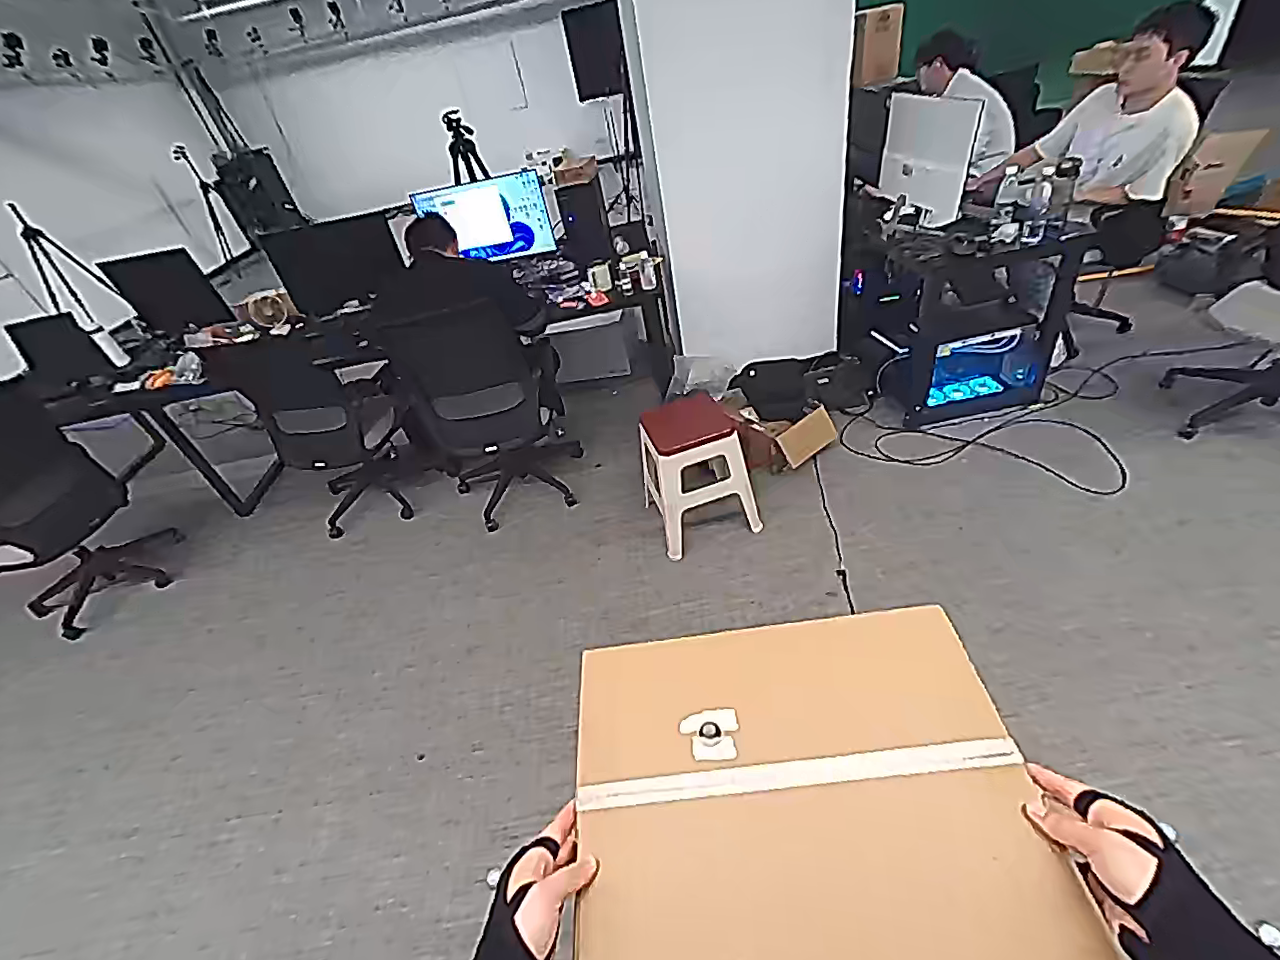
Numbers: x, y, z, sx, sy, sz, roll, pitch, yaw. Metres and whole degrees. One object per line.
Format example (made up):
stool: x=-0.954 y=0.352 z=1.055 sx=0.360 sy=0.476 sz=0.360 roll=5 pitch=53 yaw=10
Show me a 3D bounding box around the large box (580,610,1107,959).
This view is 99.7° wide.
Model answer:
large box: x=0.168 y=0.389 z=0.616 sx=0.408 sy=0.320 sz=0.320 roll=-10 pitch=43 yaw=6
